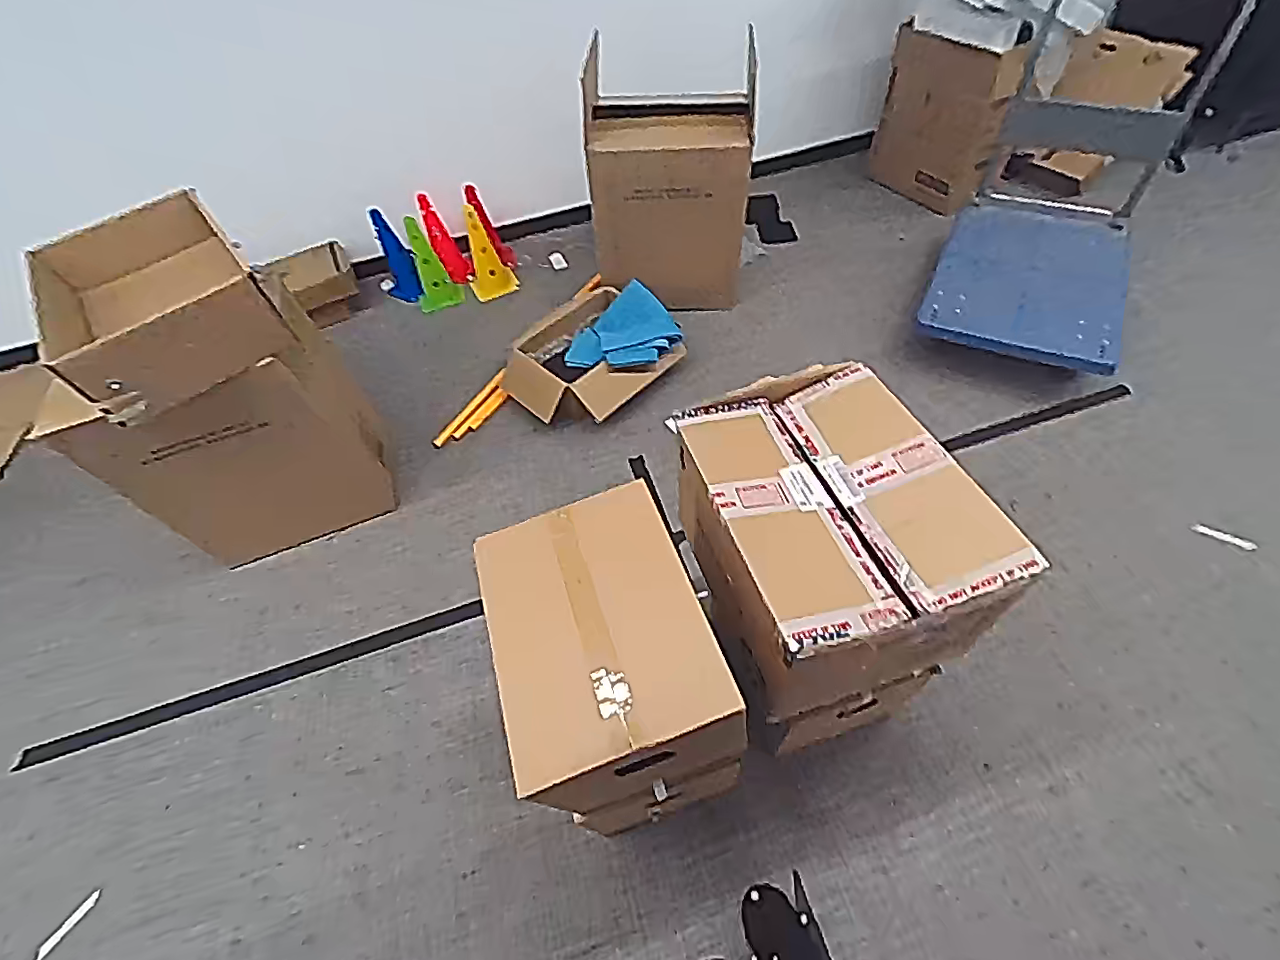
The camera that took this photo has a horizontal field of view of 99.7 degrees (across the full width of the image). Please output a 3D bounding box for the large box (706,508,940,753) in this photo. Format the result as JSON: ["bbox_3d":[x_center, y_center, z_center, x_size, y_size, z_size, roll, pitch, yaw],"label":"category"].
[{"bbox_3d":[0.372,0.341,1.236,0.320,0.320,0.408,-18,54,-7],"label":"large box"}]
